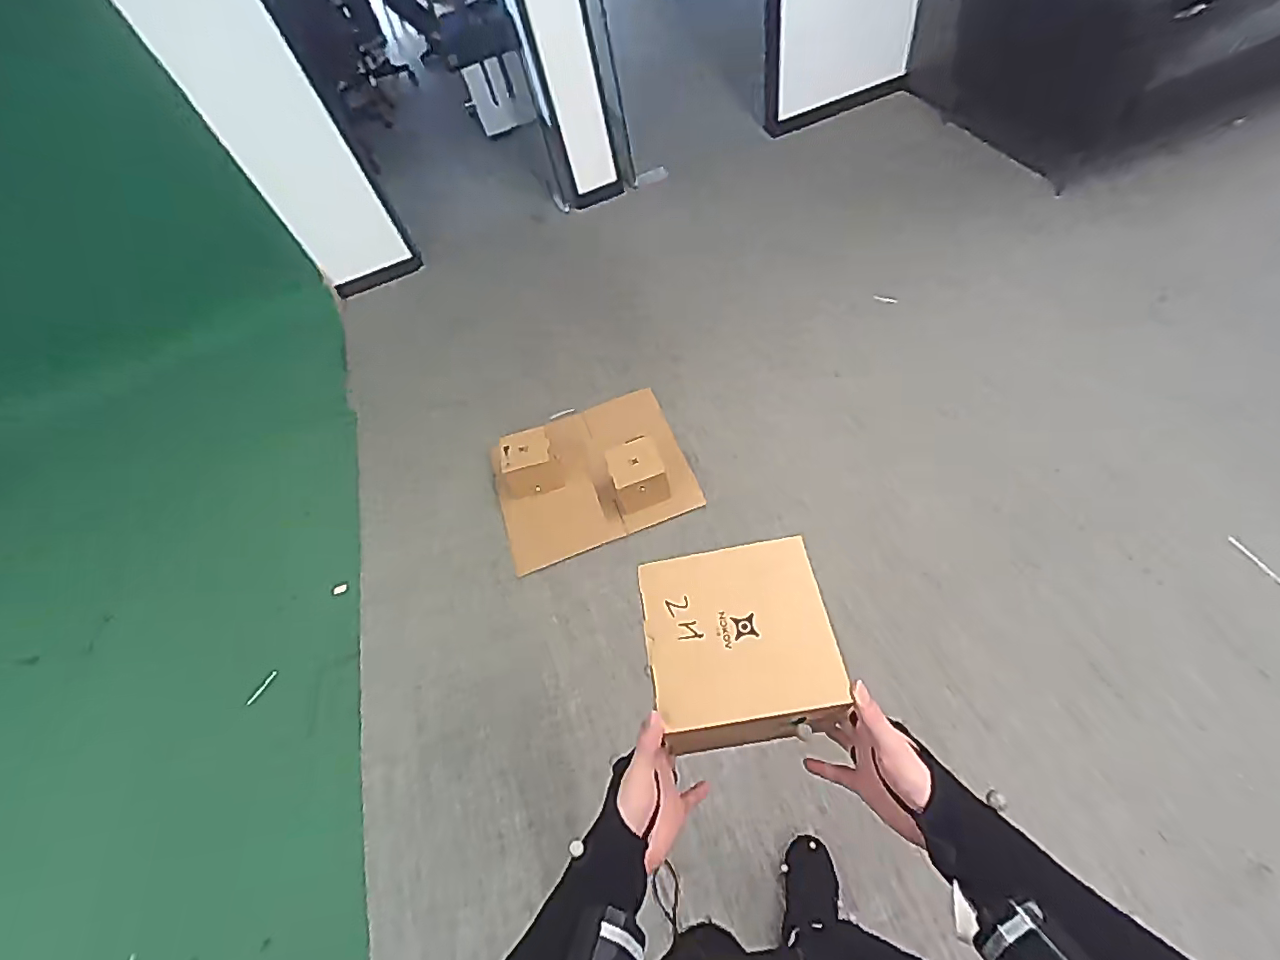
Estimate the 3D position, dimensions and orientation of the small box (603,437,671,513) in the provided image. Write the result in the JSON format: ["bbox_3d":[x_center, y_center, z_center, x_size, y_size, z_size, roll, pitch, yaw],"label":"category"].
[{"bbox_3d":[-0.007,-0.012,1.856,0.179,0.176,0.168,-20,55,-1],"label":"small box"}]

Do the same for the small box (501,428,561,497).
[{"bbox_3d":[-0.393,-0.060,1.968,0.179,0.176,0.168,-14,55,2],"label":"small box"}]

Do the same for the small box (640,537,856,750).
[{"bbox_3d":[0.104,0.182,0.582,0.179,0.176,0.168,-11,56,3],"label":"small box"}]
